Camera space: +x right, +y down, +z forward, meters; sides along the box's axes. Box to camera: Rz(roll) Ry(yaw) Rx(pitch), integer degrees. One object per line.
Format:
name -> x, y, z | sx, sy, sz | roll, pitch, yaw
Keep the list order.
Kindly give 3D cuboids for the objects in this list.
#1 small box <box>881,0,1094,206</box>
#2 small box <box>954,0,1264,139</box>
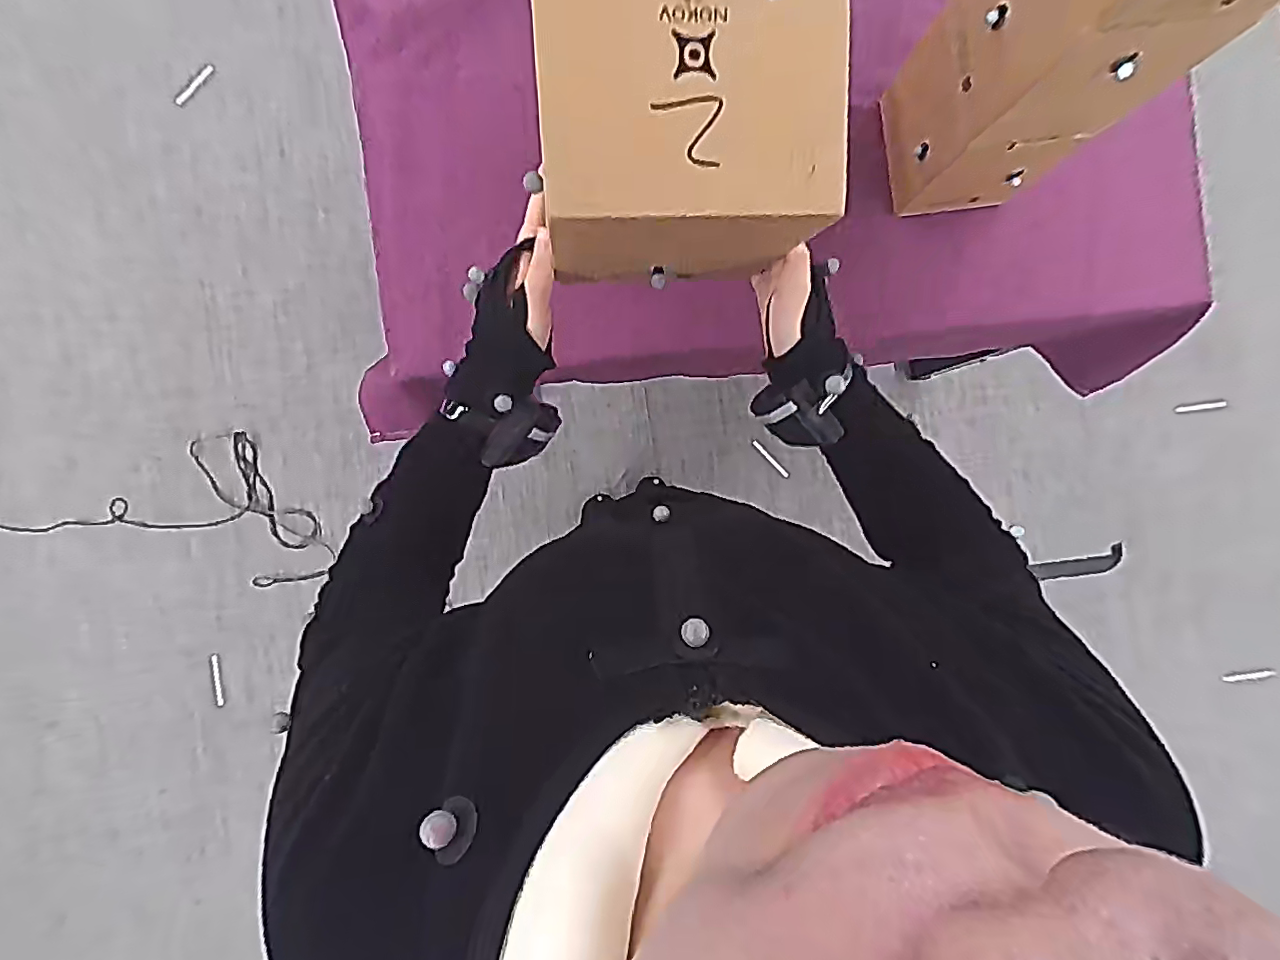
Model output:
small box -> 0.442, -0.484, 0.713 | 0.168, 0.176, 0.179 | -7, 90, -3
small box -> 0.449, -0.479, 0.549 | 0.179, 0.176, 0.168 | -8, 92, -3
